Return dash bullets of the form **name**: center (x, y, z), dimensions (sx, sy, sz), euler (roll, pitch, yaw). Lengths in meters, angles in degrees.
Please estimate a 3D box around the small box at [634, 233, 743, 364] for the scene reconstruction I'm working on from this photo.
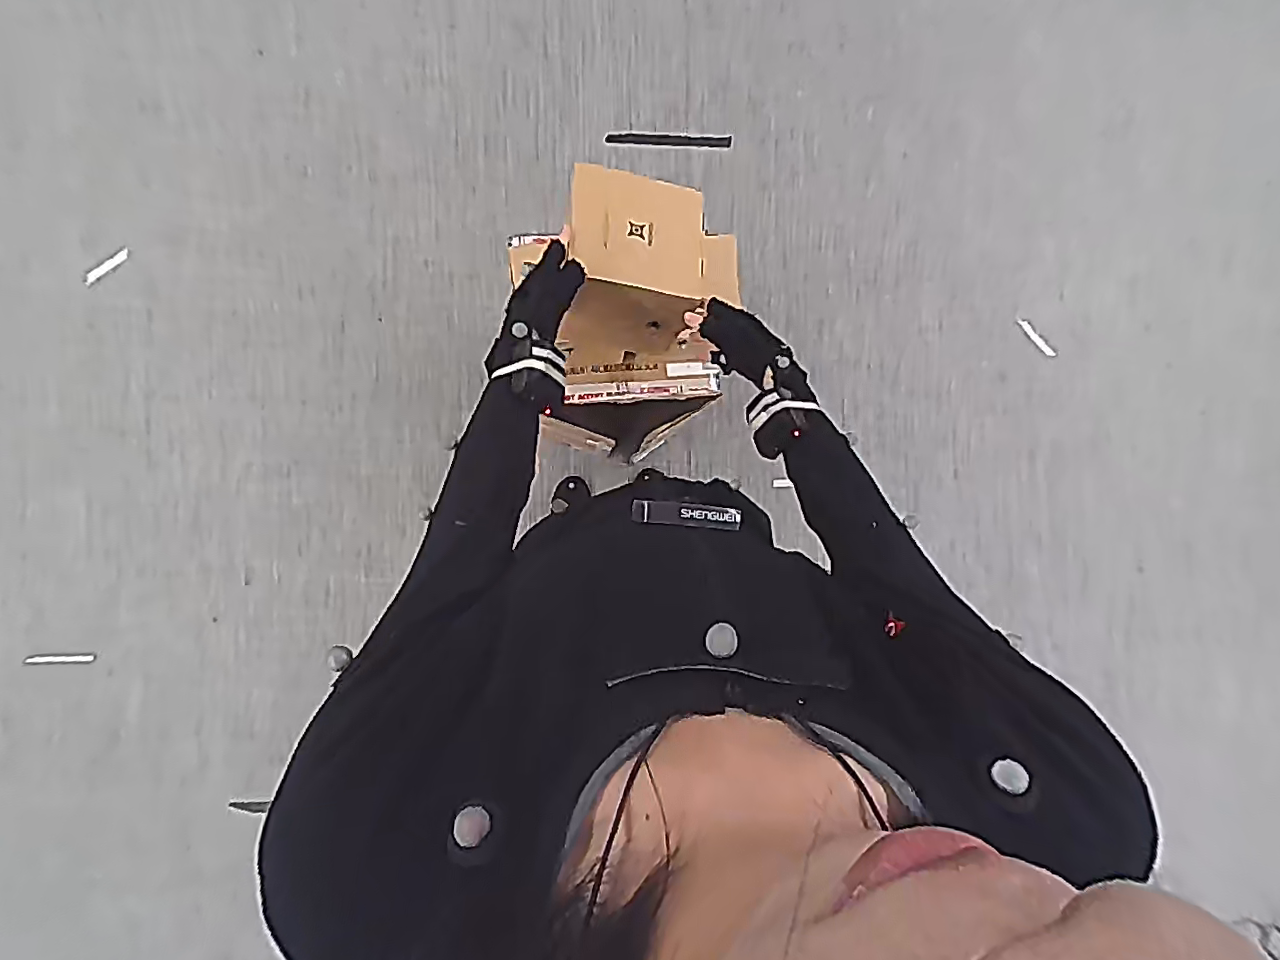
- **small box**: center (0.074, -0.316, 0.965), dimensions (0.168, 0.176, 0.179), euler (-4, 88, -8)

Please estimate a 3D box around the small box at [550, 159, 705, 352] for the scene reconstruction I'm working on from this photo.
- **small box**: center (-0.023, -0.293, 0.745), dimensions (0.179, 0.176, 0.168), euler (6, 75, -13)

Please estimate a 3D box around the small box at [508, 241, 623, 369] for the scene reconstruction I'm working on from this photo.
- **small box**: center (-0.122, -0.299, 0.944), dimensions (0.179, 0.176, 0.168), euler (-7, 89, -5)
